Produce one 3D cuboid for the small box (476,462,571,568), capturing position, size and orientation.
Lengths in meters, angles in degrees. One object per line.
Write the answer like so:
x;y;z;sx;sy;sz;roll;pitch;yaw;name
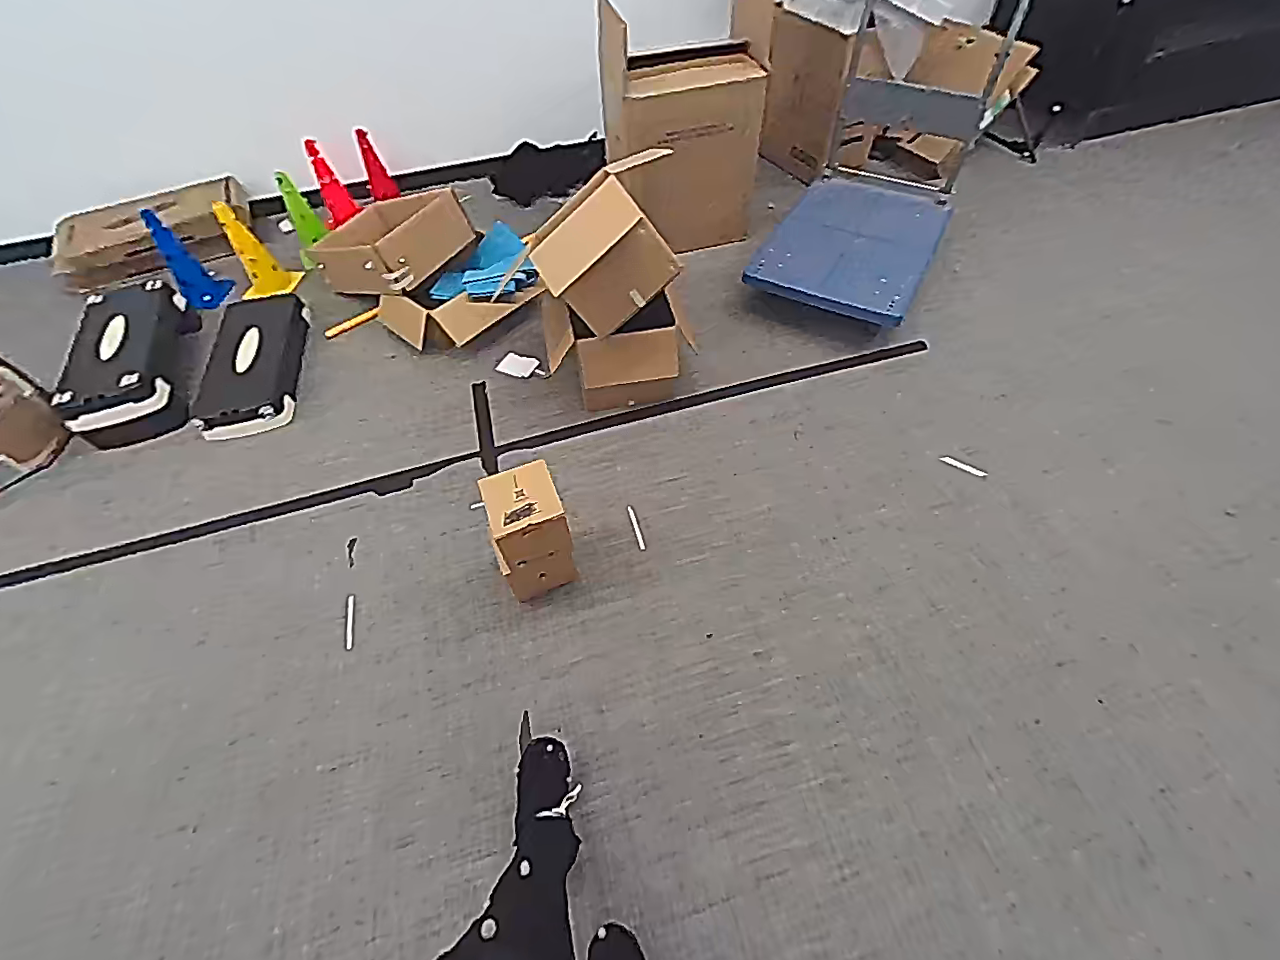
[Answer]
-0.276;0.092;1.305;0.168;0.176;0.179;-19;55;-11;small box
